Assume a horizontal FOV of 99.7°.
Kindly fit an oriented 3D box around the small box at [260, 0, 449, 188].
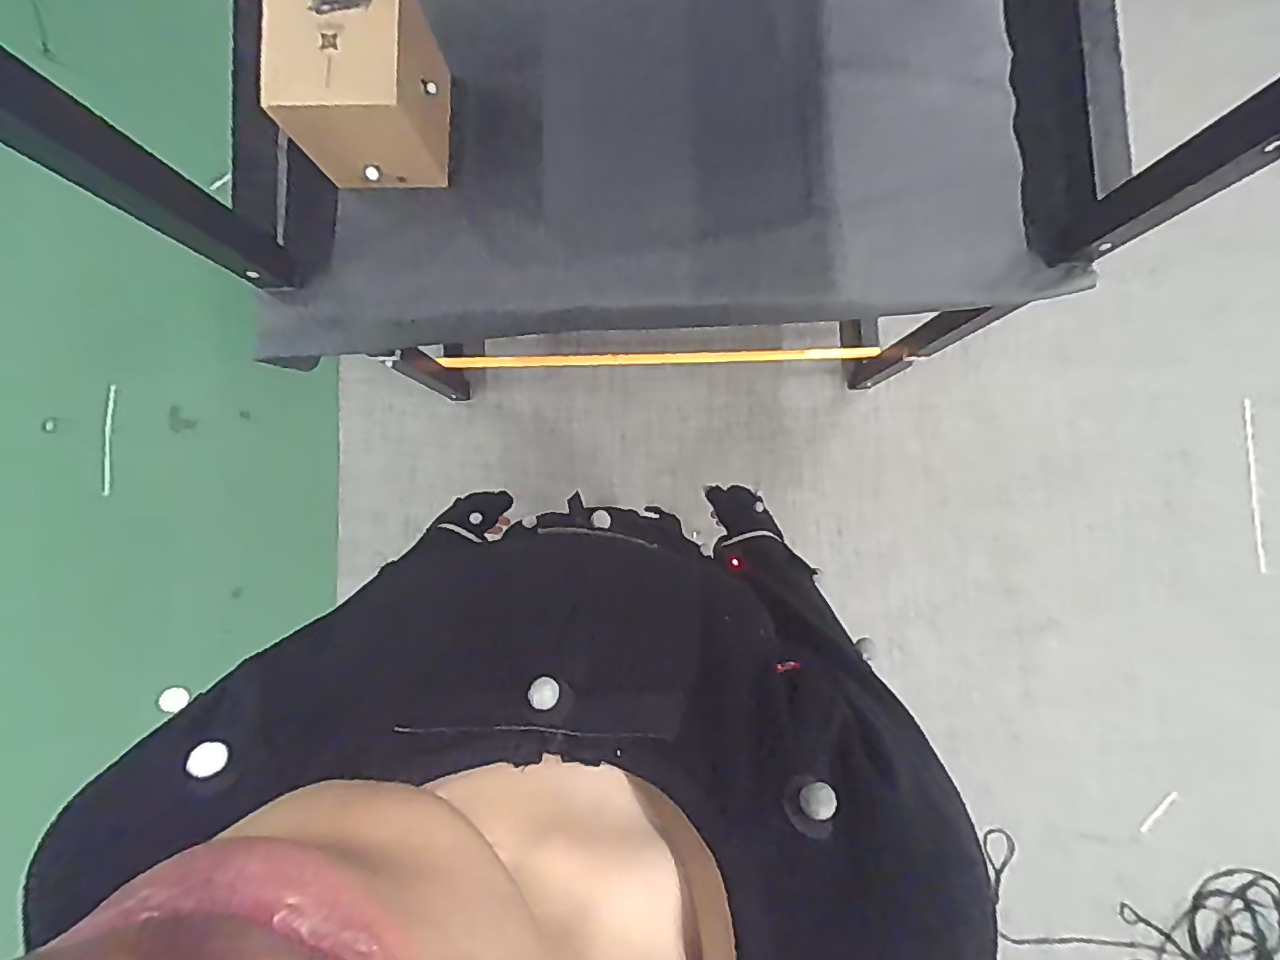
[{"bbox_3d":[-0.365,-0.524,0.720,0.168,0.176,0.179,0,88,0],"label":"small box"}]
